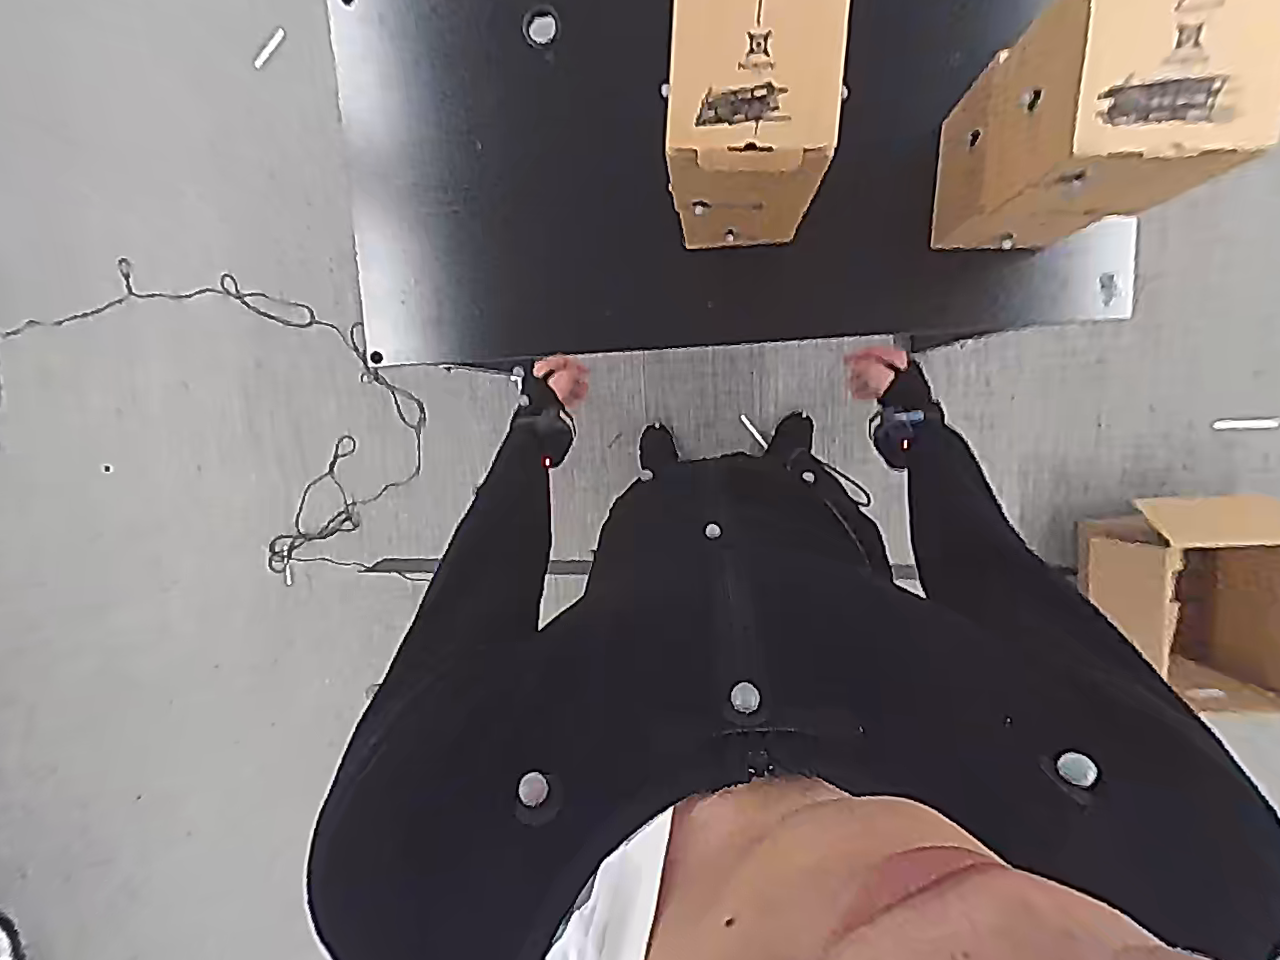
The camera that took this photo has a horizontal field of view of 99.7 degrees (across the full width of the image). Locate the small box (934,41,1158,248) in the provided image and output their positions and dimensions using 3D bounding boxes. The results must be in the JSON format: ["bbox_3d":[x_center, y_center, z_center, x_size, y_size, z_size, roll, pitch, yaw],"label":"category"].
[{"bbox_3d":[0.504,-0.418,0.701,0.168,0.176,0.179,3,98,8],"label":"small box"}]

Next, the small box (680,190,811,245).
[{"bbox_3d":[0.138,-0.445,0.747,0.168,0.176,0.179,-1,98,8],"label":"small box"}]

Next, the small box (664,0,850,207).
[{"bbox_3d":[0.120,-0.414,0.587,0.168,0.176,0.179,4,98,6],"label":"small box"}]
